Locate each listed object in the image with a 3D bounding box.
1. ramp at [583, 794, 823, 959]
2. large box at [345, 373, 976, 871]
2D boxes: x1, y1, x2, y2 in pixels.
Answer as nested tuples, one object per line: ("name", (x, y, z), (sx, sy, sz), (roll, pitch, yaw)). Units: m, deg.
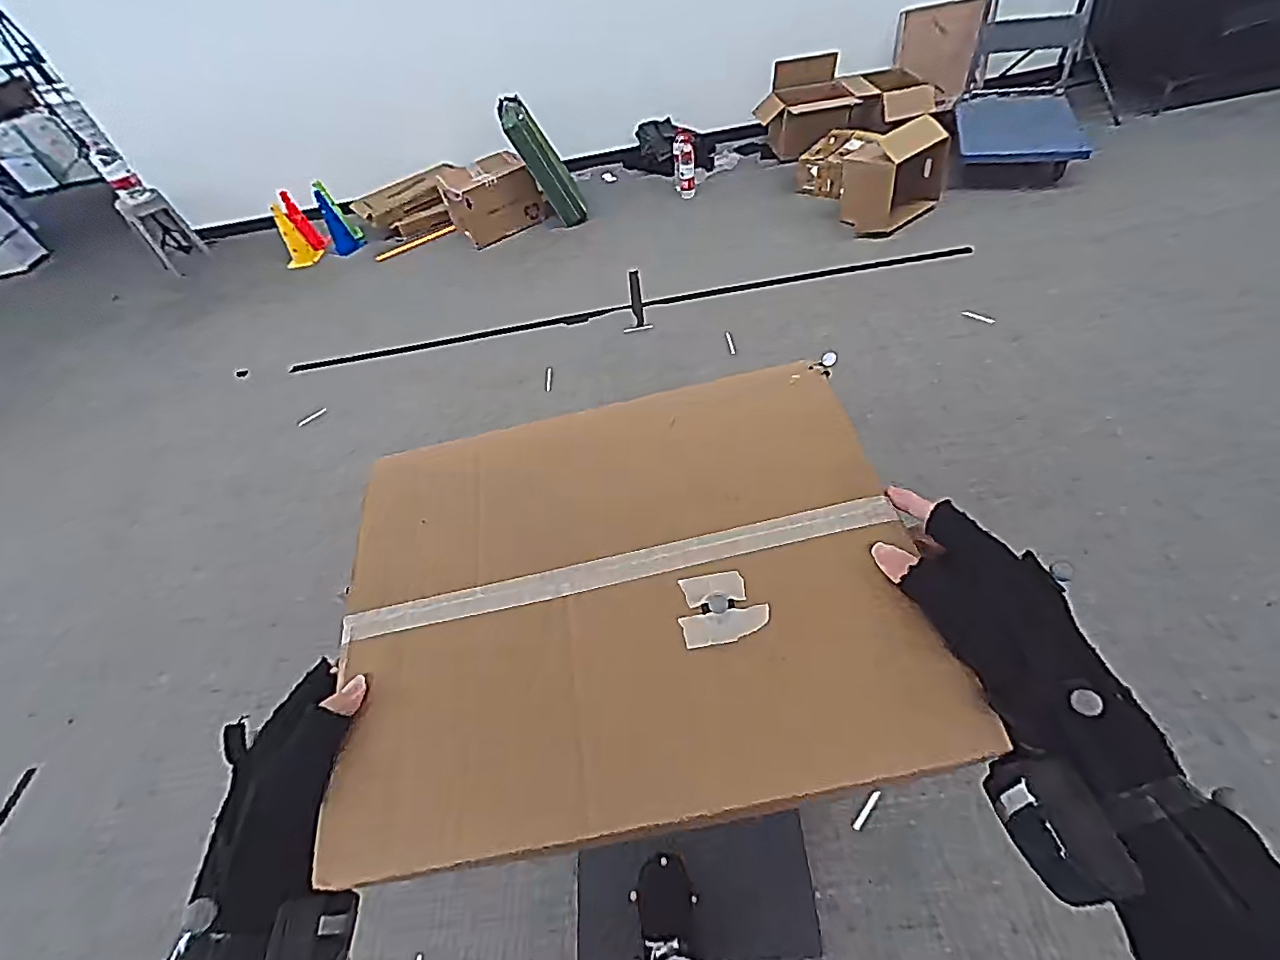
("ramp", (0.097, 0.525, 1.332), (0.509, 0.206, 0.991), (-8, 49, 4))
("large box", (0.006, 0.151, 0.531), (0.408, 0.320, 0.320), (-13, 57, 2))
